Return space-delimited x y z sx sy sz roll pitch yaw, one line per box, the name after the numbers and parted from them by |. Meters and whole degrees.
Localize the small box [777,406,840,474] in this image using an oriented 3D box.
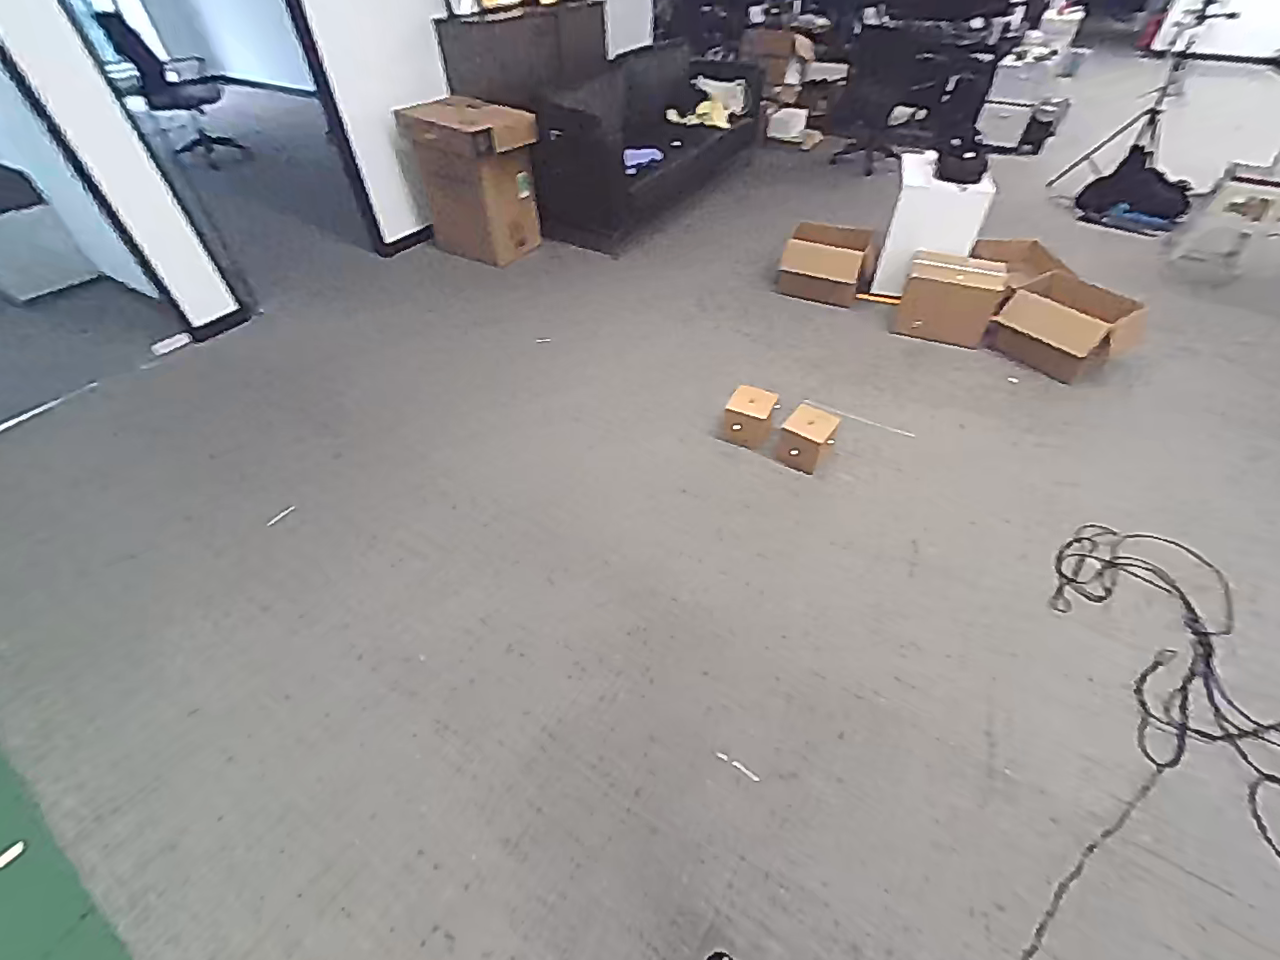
0.645 -0.152 2.093 0.168 0.176 0.179 29 53 26 | small box

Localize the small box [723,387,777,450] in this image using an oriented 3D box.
0.442 -0.247 2.194 0.168 0.176 0.179 19 49 20 | small box
